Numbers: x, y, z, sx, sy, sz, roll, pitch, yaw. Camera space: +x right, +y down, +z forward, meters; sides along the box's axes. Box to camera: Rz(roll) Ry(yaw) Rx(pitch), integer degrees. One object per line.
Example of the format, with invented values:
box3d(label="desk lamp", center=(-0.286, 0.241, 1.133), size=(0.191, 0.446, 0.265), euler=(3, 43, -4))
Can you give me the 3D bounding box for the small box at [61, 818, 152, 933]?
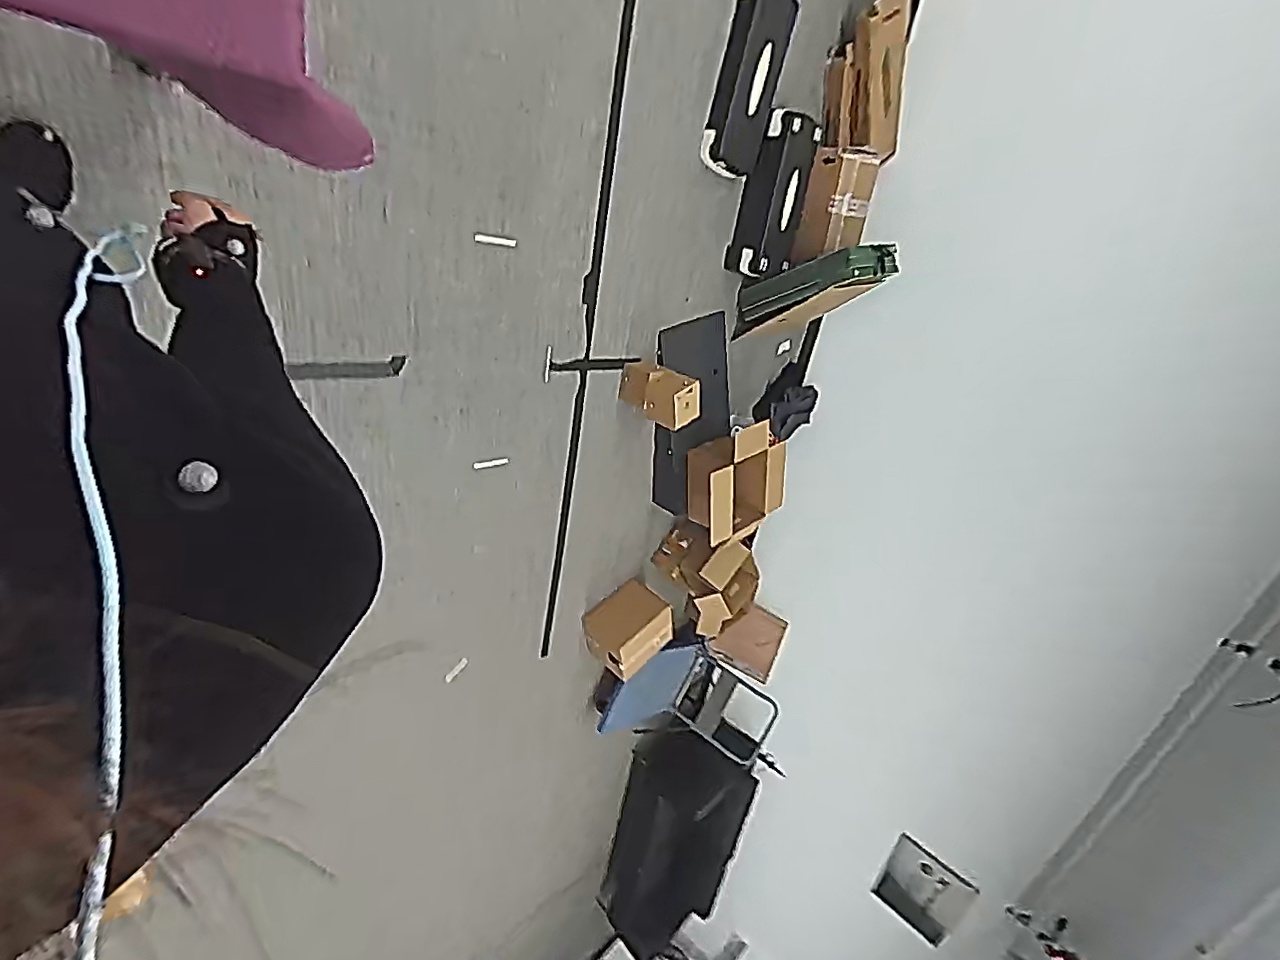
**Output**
box3d(label="small box", center=(-1.568, 1.152, 1.589), size=(0.179, 0.176, 0.168), euler=(-7, 119, -51))
